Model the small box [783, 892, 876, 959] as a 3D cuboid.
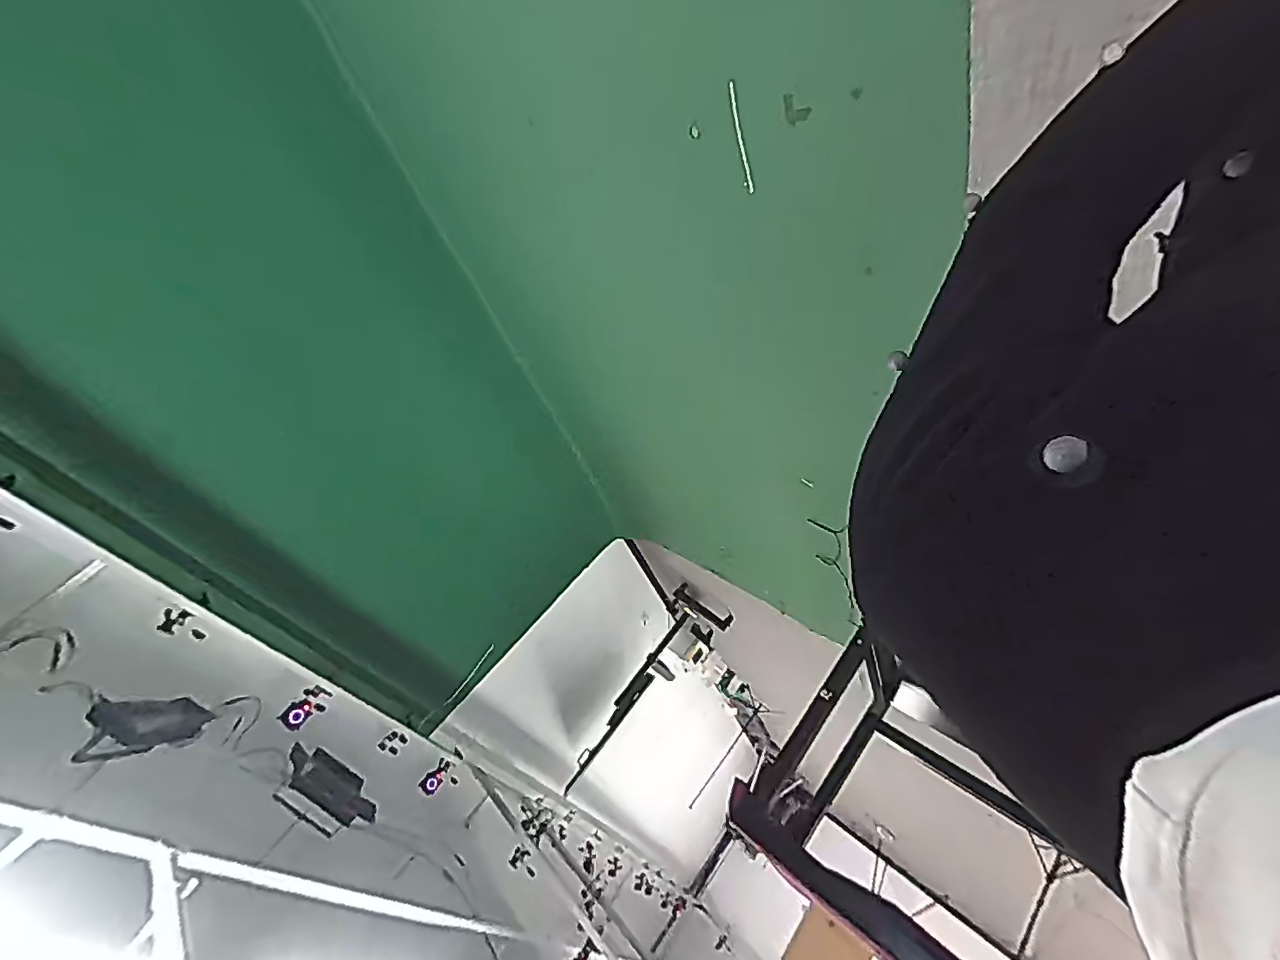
[{"bbox_3d":[0.489,1.205,1.392,0.168,0.176,0.179,26,156,35],"label":"small box"}]
